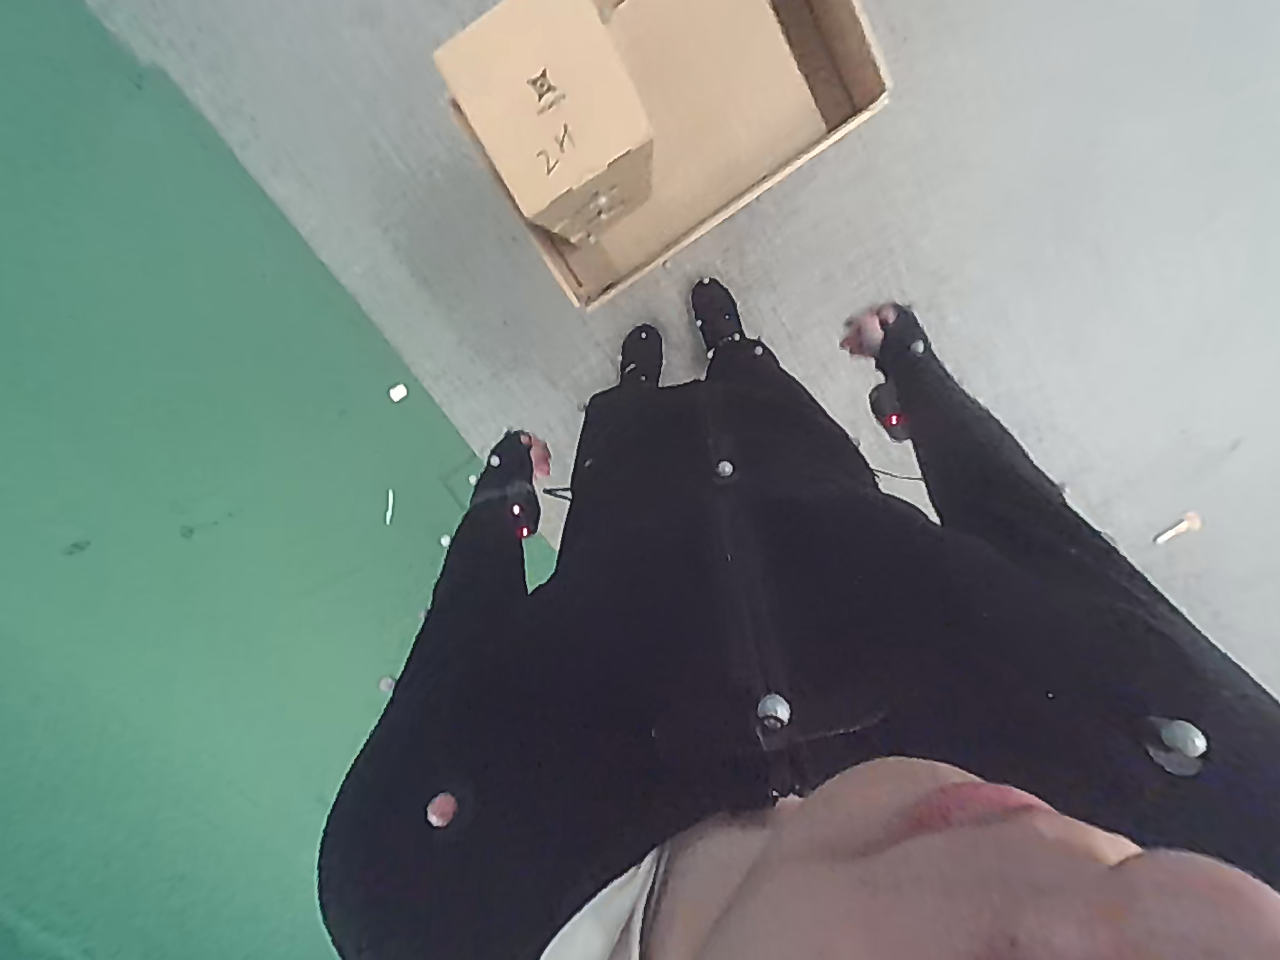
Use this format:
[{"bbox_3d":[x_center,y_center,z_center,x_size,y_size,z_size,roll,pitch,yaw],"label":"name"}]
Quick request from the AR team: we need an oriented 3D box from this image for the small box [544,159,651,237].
[{"bbox_3d":[-0.098,-0.480,0.786,0.168,0.176,0.179,-30,107,10],"label":"small box"}]

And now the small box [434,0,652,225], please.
[{"bbox_3d":[-0.099,-0.424,0.630,0.168,0.176,0.179,-27,108,10],"label":"small box"}]
